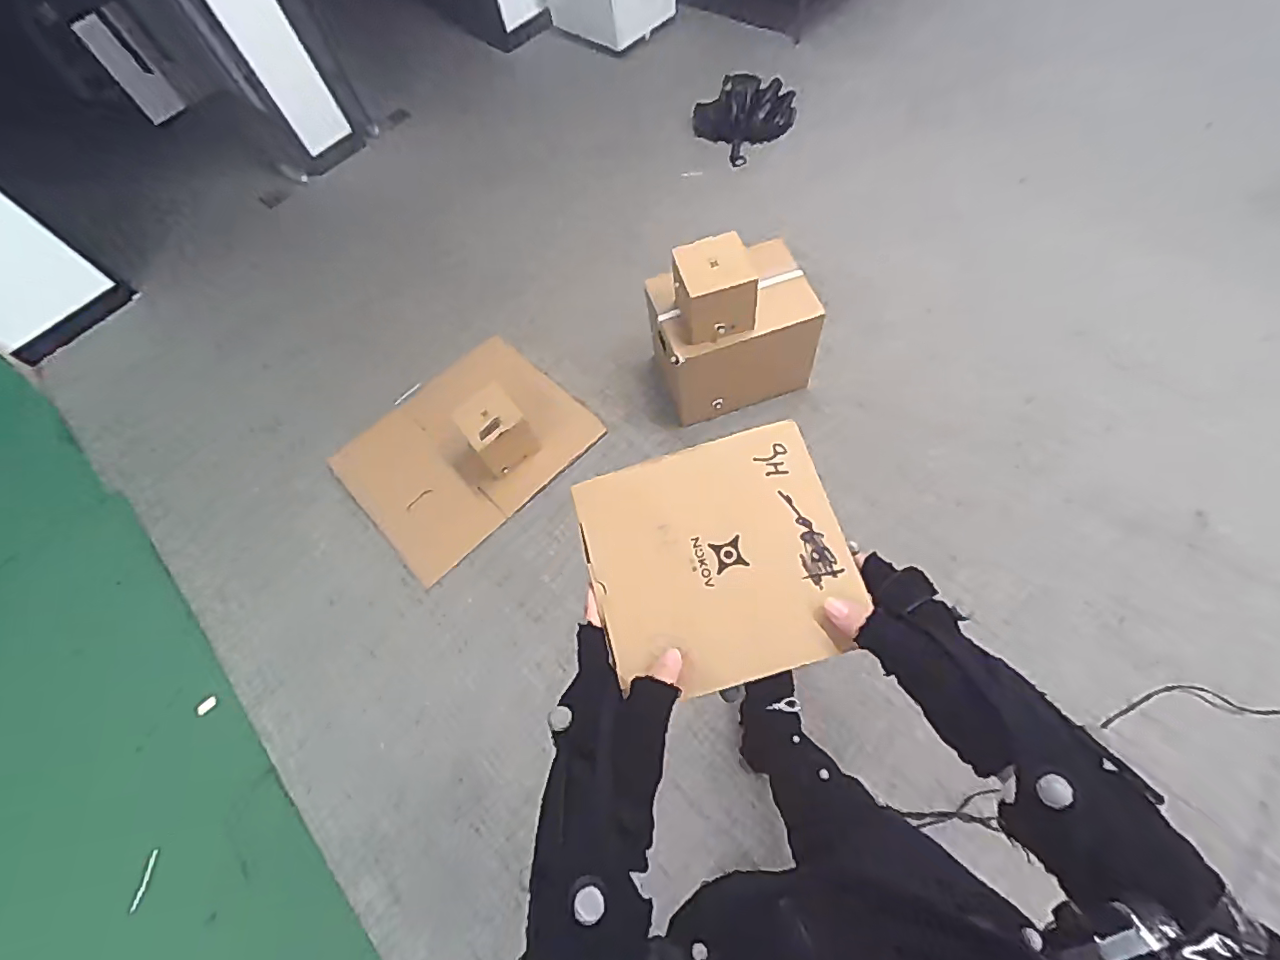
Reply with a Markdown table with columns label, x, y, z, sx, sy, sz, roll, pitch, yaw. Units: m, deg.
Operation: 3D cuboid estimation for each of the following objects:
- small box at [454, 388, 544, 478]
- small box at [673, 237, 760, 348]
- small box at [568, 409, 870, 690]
| label | x | y | z | sx | sy | sz | roll | pitch | yaw |
| --- | --- | --- | --- | --- | --- | --- | --- | --- | --- |
| small box | -0.411 | -0.130 | 1.602 | 0.168 | 0.176 | 0.179 | -38 | 62 | -11 |
| small box | 0.188 | -0.465 | 1.351 | 0.168 | 0.176 | 0.179 | -17 | 63 | 1 |
| small box | 0.059 | 0.072 | 0.459 | 0.179 | 0.176 | 0.168 | -19 | 68 | 0 |
